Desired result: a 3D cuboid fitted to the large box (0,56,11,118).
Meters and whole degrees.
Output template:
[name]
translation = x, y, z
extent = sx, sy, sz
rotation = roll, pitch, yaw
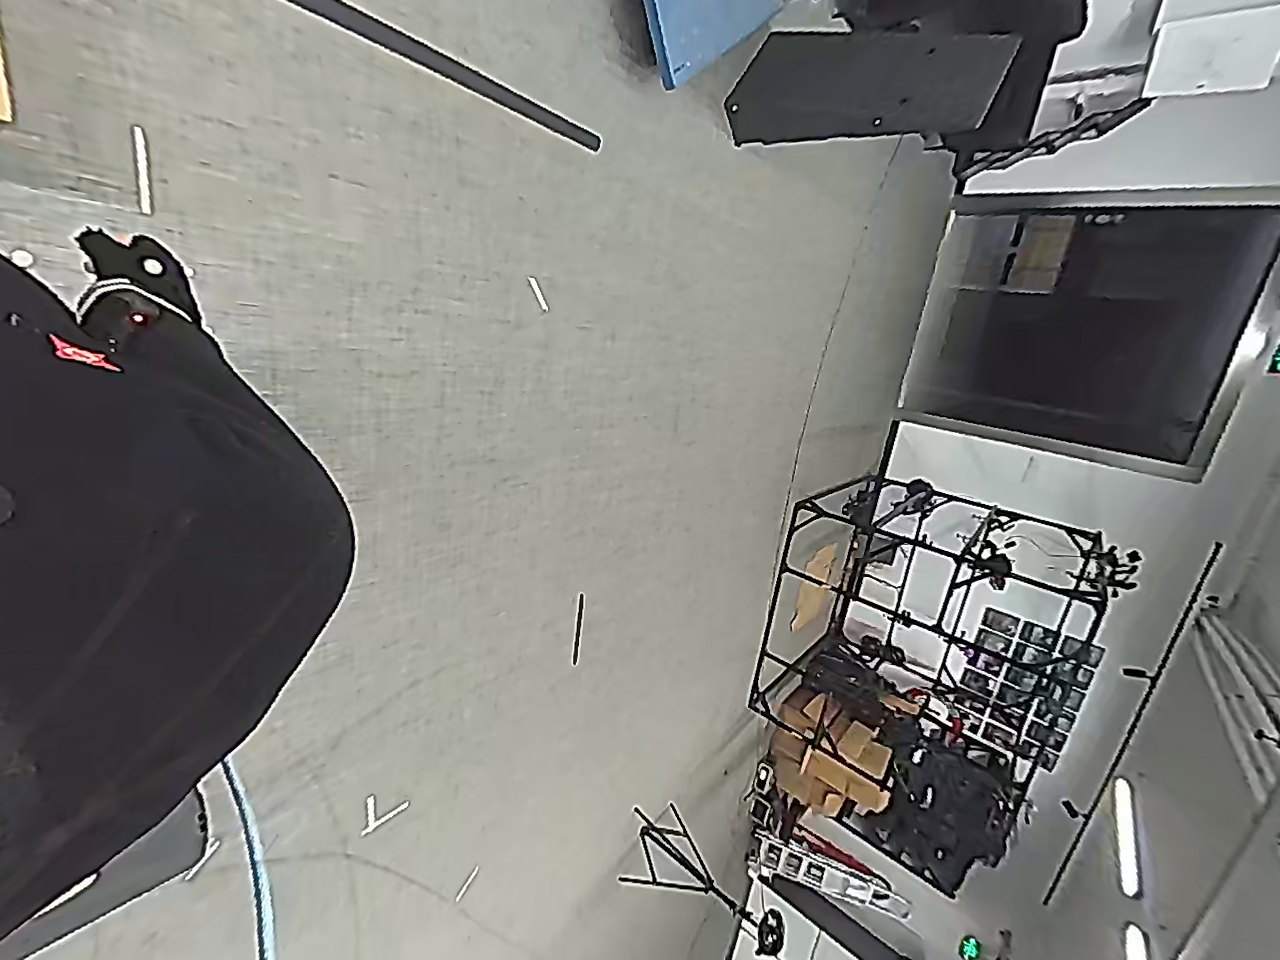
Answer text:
[large box]
translation = -1.074, -0.645, 0.617
extent = 0.408, 0.320, 0.320
rotation = -15, 118, -51
